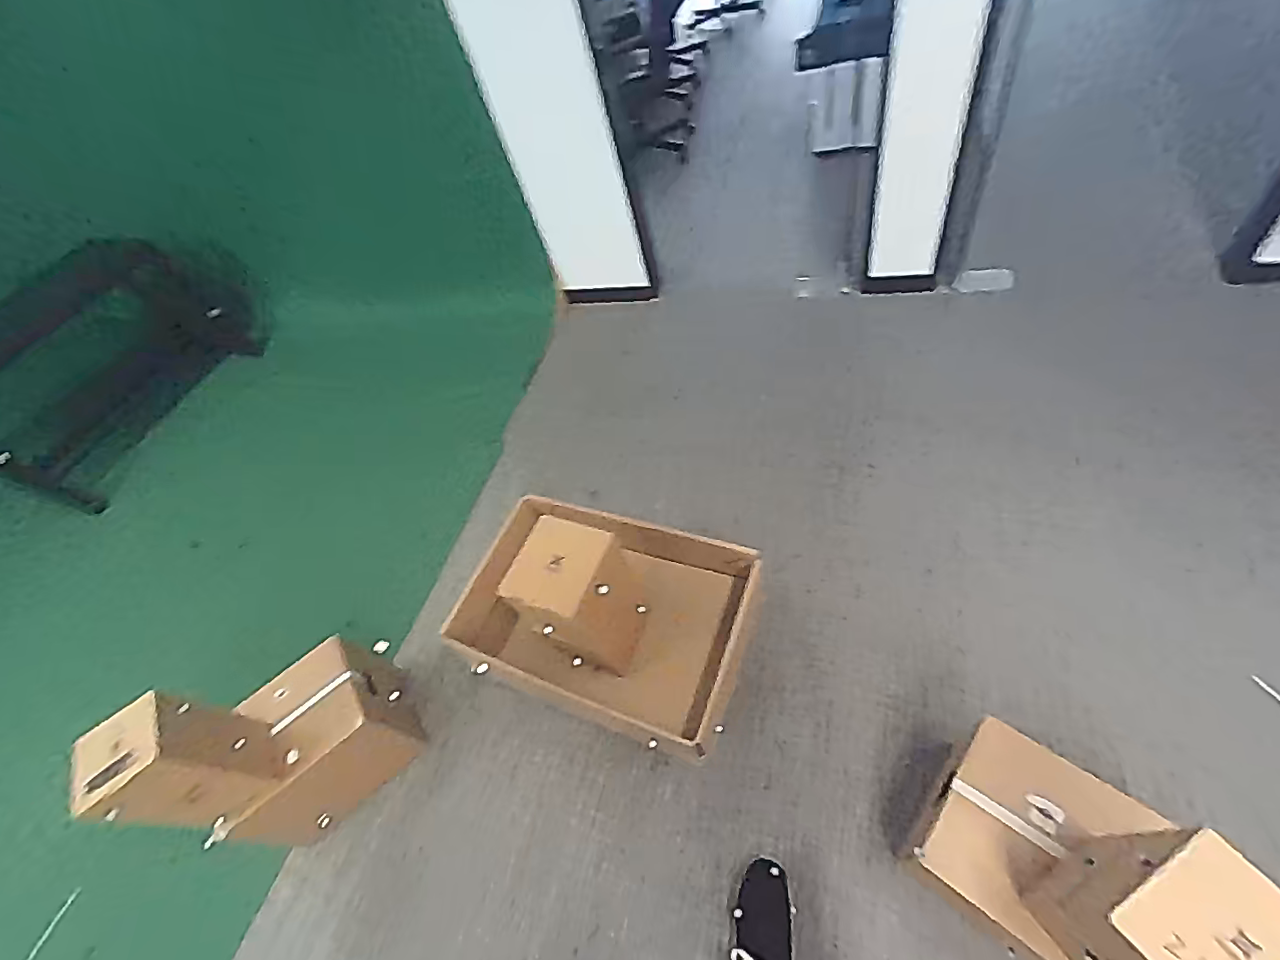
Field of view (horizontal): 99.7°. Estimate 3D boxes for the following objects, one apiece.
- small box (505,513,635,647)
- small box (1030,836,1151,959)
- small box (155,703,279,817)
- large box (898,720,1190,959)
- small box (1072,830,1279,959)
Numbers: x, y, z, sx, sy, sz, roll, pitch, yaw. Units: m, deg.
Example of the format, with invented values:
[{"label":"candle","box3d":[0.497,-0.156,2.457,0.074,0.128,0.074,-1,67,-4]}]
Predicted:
[{"label":"small box","box3d":[-0.124,0.194,1.048,0.168,0.176,0.179,13,60,26]},{"label":"small box","box3d":[0.724,0.657,0.793,0.179,0.176,0.168,-32,52,-7]},{"label":"small box","box3d":[-0.996,0.670,1.284,0.168,0.176,0.179,-34,52,-11]},{"label":"large box","box3d":[0.773,0.744,1.029,0.408,0.320,0.320,29,66,33]},{"label":"small box","box3d":[0.687,0.564,0.661,0.179,0.176,0.168,-33,52,-7]}]
